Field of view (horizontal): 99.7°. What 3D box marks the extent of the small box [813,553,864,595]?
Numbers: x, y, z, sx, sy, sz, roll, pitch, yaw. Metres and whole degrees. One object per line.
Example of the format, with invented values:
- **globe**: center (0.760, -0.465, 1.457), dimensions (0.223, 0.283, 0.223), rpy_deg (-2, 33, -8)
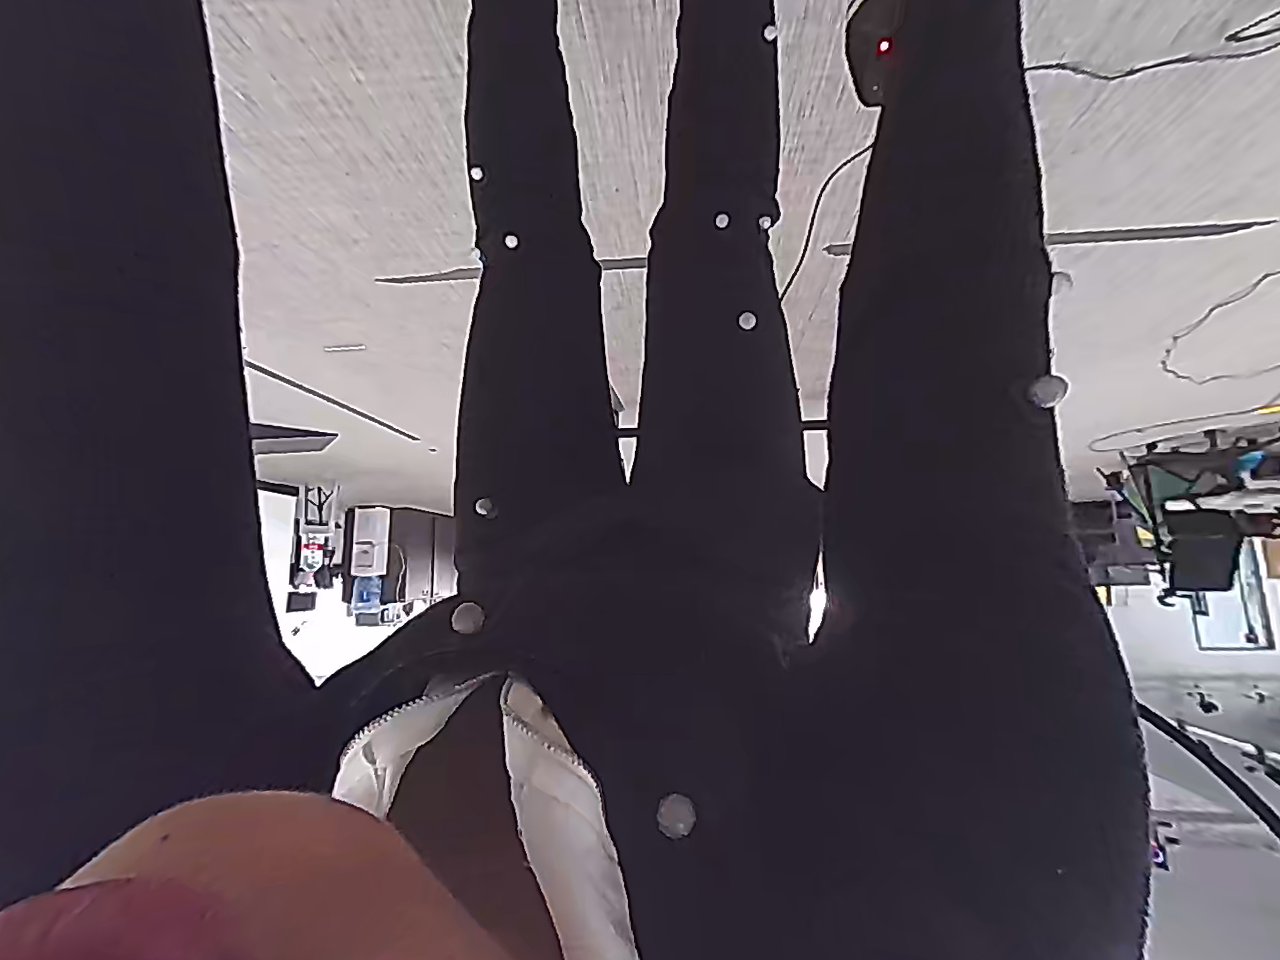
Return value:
- **small box**: center (0.826, 0.391, 2.262), dimensions (0.168, 0.176, 0.179), rpy_deg (-1, 171, 8)
